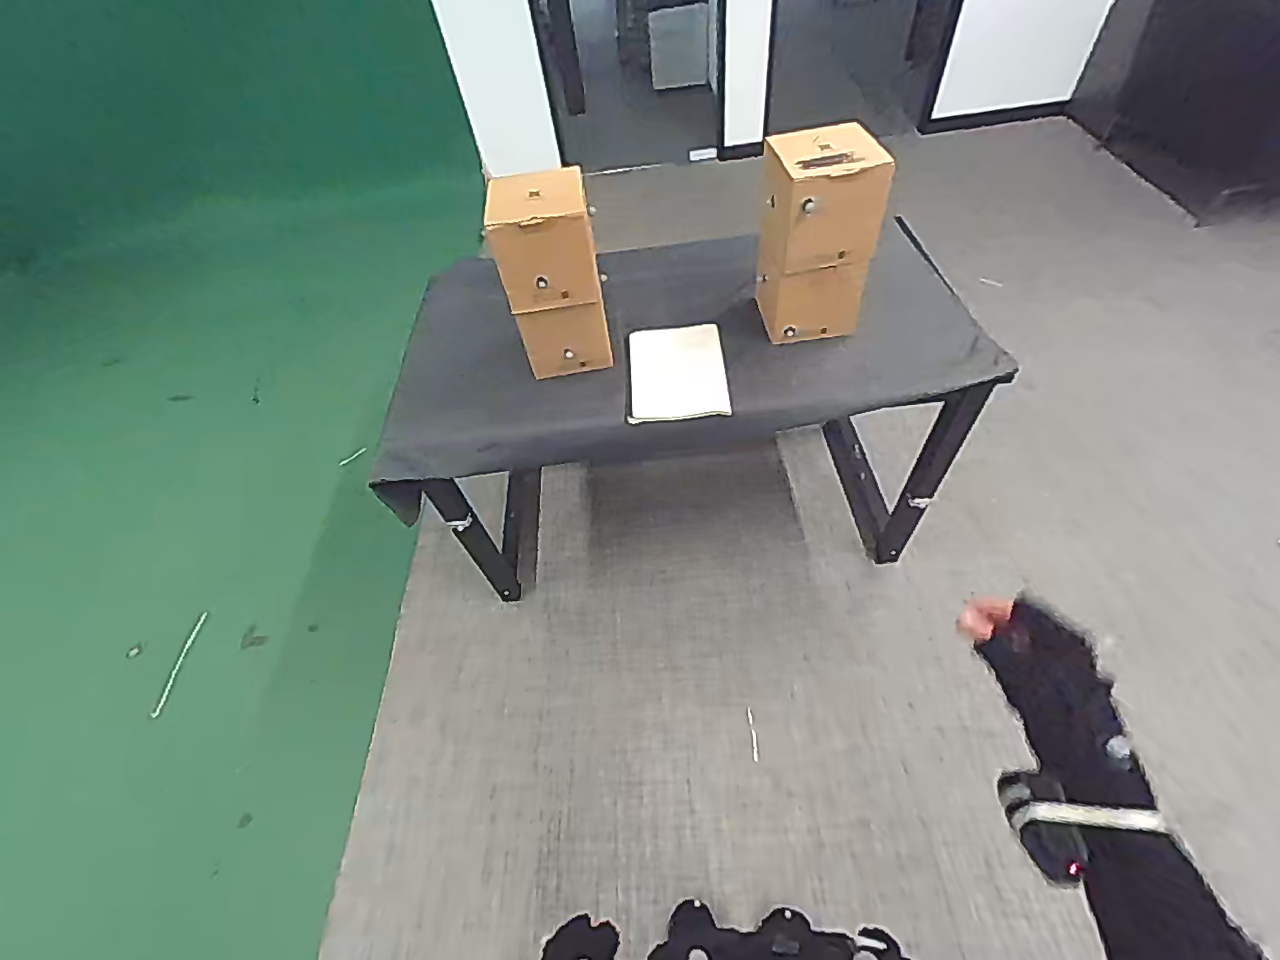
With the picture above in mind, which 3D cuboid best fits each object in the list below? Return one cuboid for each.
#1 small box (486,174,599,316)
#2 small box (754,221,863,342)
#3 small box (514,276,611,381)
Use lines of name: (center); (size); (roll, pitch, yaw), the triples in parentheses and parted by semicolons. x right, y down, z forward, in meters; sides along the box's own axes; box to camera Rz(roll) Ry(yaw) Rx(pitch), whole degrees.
small box: (-0.170, -0.425, 0.984); (0.168, 0.176, 0.179); (-9, 51, 0)
small box: (0.335, -0.398, 1.108); (0.168, 0.176, 0.179); (-7, 51, 2)
small box: (-0.157, -0.331, 1.116); (0.168, 0.176, 0.179); (-10, 52, 0)
